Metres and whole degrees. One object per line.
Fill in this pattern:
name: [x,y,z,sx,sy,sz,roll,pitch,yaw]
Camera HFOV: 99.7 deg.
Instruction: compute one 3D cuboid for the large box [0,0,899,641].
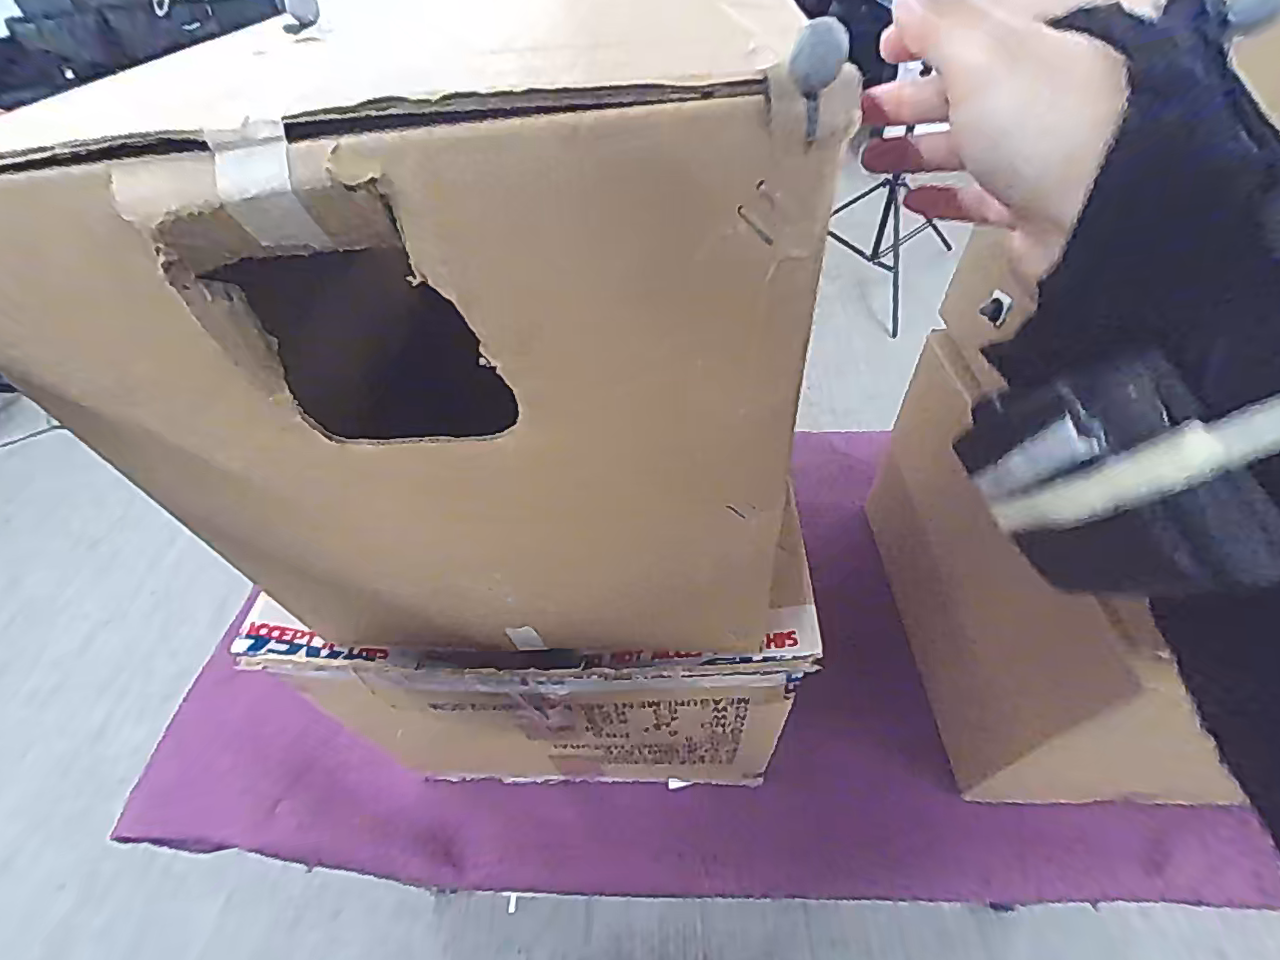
large box: [-0.065,-0.137,0.390,0.320,0.320,0.408,-3,49,7]
